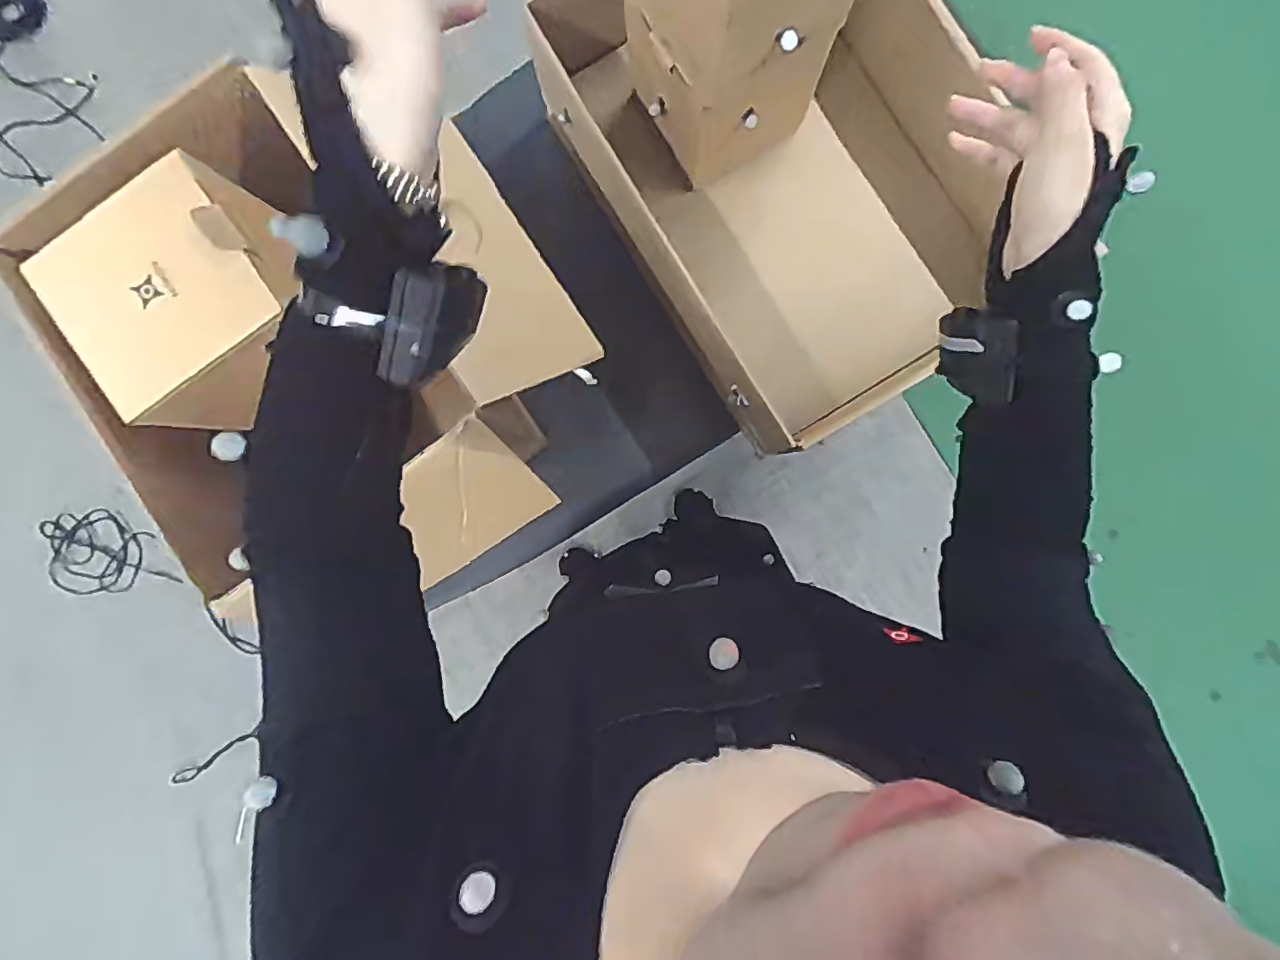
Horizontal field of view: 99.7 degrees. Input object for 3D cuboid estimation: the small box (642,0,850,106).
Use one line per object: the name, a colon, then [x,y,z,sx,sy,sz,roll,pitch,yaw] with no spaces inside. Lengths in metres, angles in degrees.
small box: [0.097,-0.507,0.498,0.168,0.176,0.179,-32,89,2]
